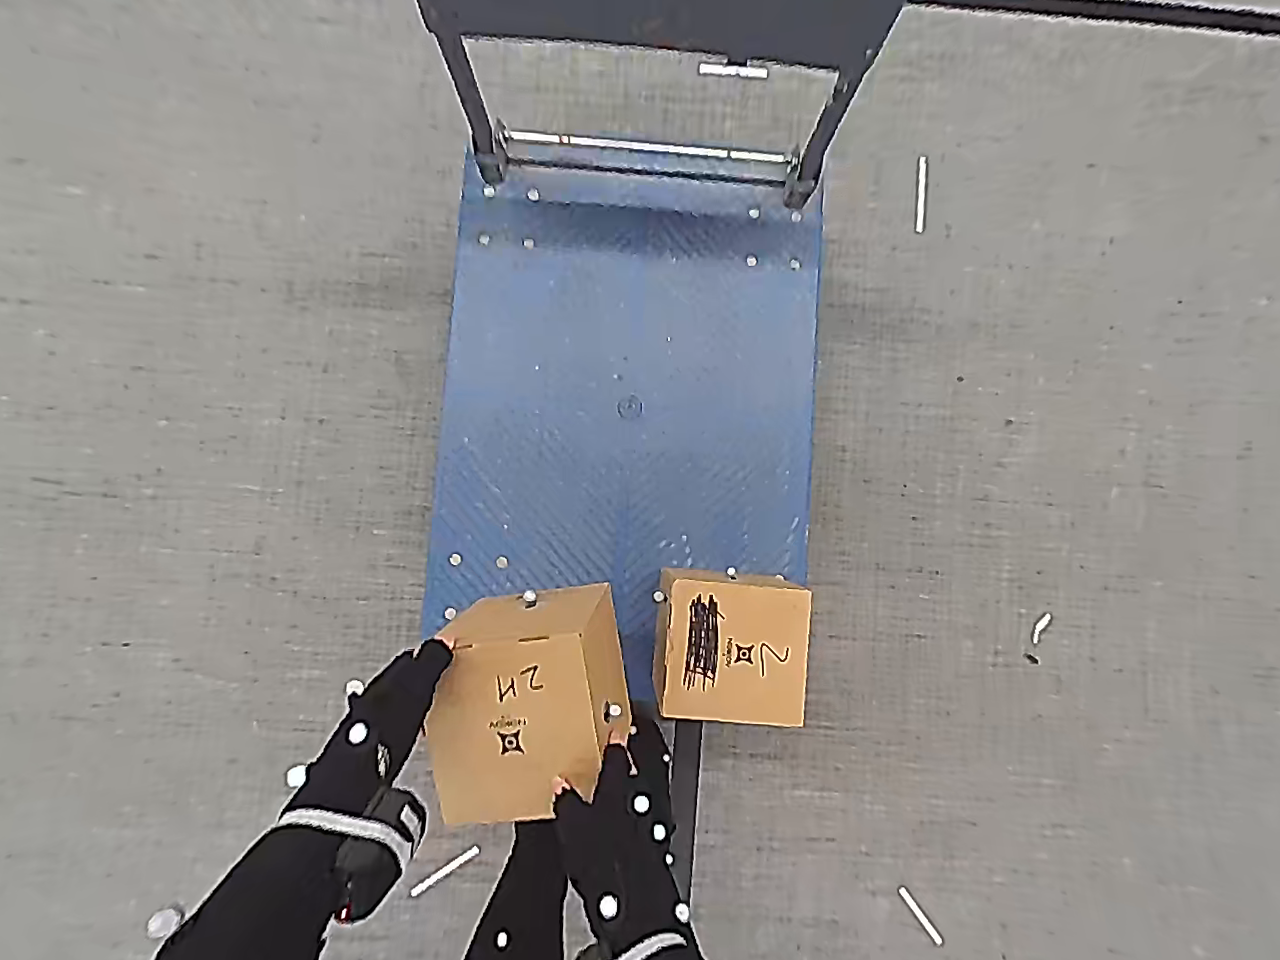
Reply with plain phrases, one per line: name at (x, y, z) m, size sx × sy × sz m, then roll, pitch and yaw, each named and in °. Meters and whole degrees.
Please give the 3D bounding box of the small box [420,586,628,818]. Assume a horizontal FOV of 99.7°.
small box at (-0.111, 0.228, 0.590) m, size 0.168 × 0.176 × 0.179 m, roll -7°, pitch 93°, yaw 6°
